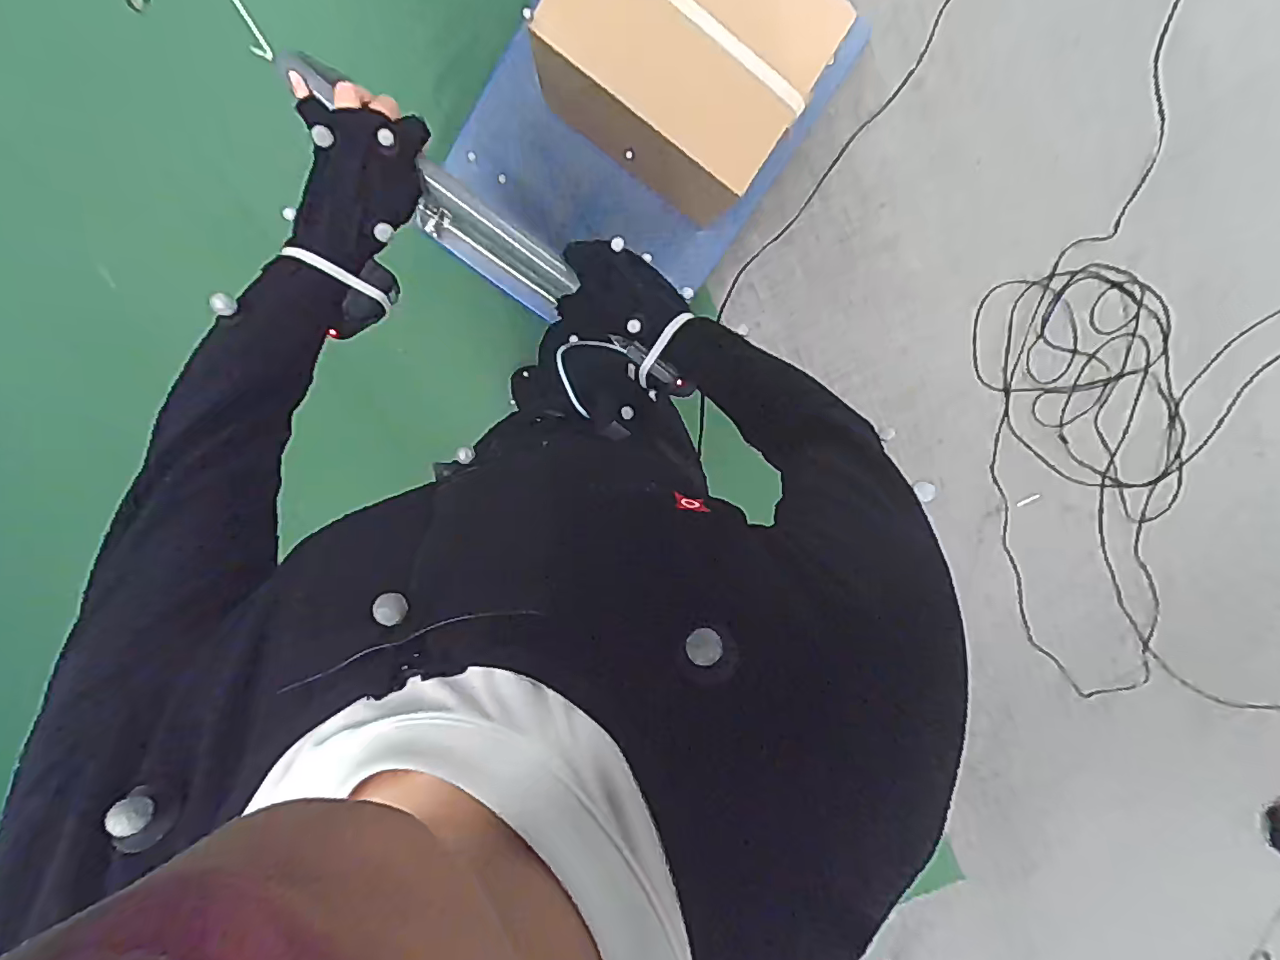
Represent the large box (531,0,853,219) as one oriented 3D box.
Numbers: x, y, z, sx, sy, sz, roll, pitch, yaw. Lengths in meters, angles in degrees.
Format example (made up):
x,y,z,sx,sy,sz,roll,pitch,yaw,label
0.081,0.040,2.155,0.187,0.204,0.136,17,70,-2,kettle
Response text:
x,y,z,sx,sy,sz,roll,pitch,yaw,label
0.074,-0.739,0.962,0.408,0.320,0.320,32,101,-13,large box
